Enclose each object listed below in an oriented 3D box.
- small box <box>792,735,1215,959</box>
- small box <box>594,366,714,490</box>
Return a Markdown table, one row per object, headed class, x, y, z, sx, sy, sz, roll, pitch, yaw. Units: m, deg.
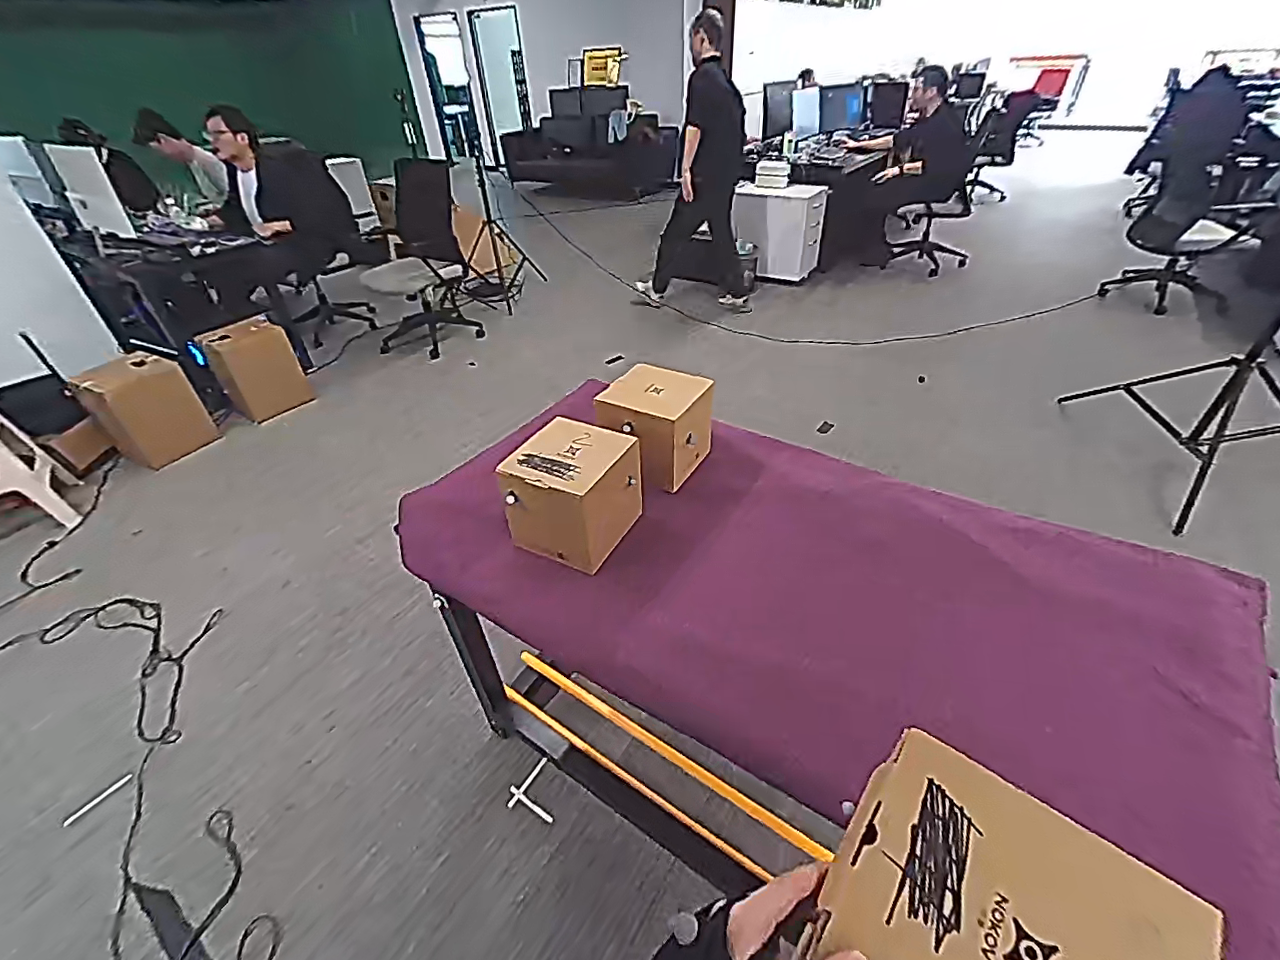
| class | x | y | z | sx | sy | sz | roll | pitch | yaw |
| --- | --- | --- | --- | --- | --- | --- | --- | --- | --- |
| small box | 0.218 | 0.321 | 0.365 | 0.179 | 0.176 | 0.168 | 26 | 54 | 29 |
| small box | 0.032 | -0.102 | 1.075 | 0.179 | 0.176 | 0.168 | 19 | 43 | 25 |
